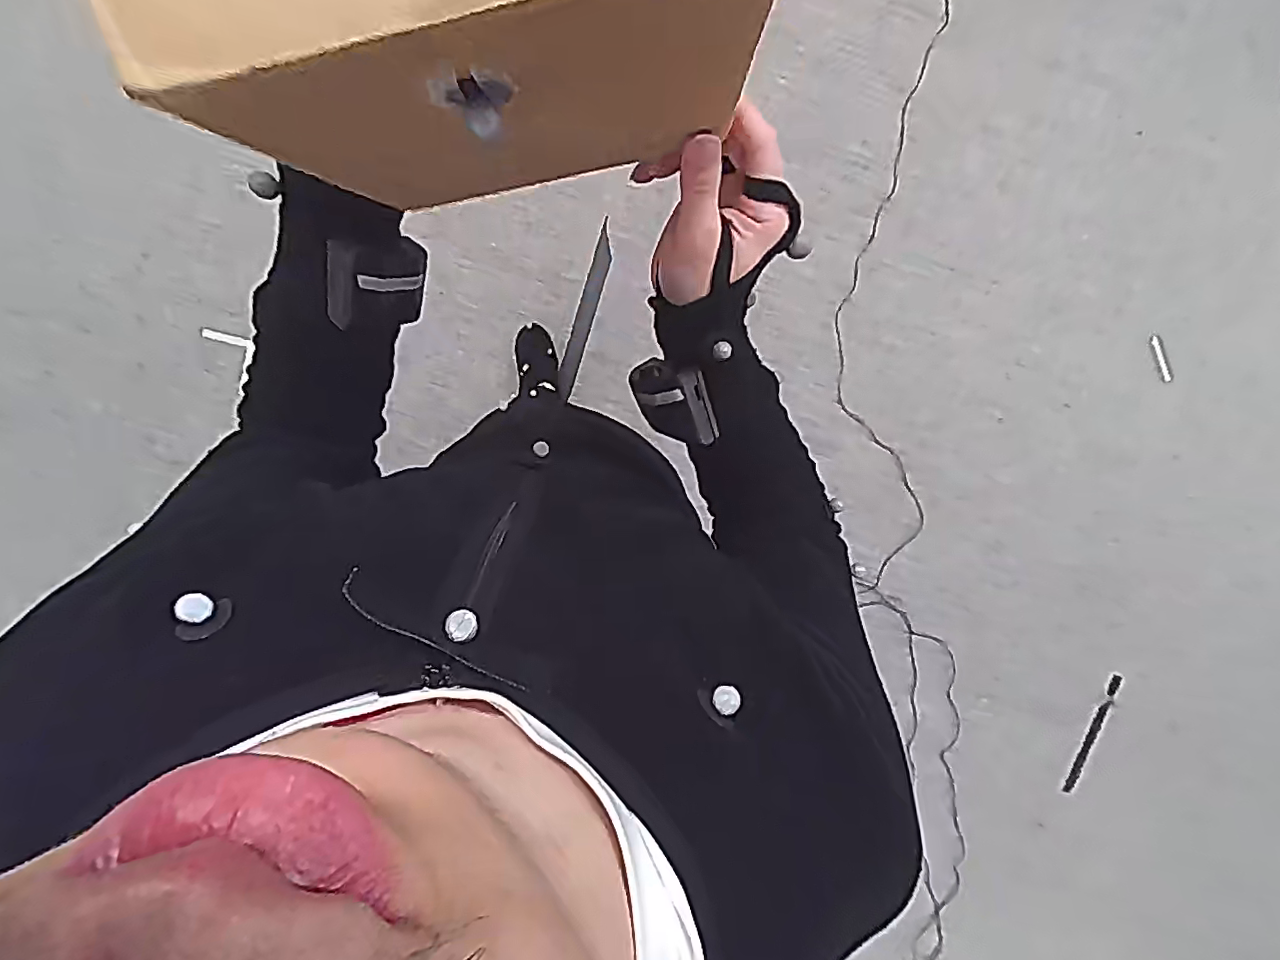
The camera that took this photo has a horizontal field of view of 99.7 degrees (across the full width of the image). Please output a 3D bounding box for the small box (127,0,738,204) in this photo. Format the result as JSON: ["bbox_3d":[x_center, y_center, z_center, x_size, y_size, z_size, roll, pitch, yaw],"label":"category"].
[{"bbox_3d":[-0.060,-0.219,0.199,0.179,0.176,0.168,-10,107,6],"label":"small box"}]
